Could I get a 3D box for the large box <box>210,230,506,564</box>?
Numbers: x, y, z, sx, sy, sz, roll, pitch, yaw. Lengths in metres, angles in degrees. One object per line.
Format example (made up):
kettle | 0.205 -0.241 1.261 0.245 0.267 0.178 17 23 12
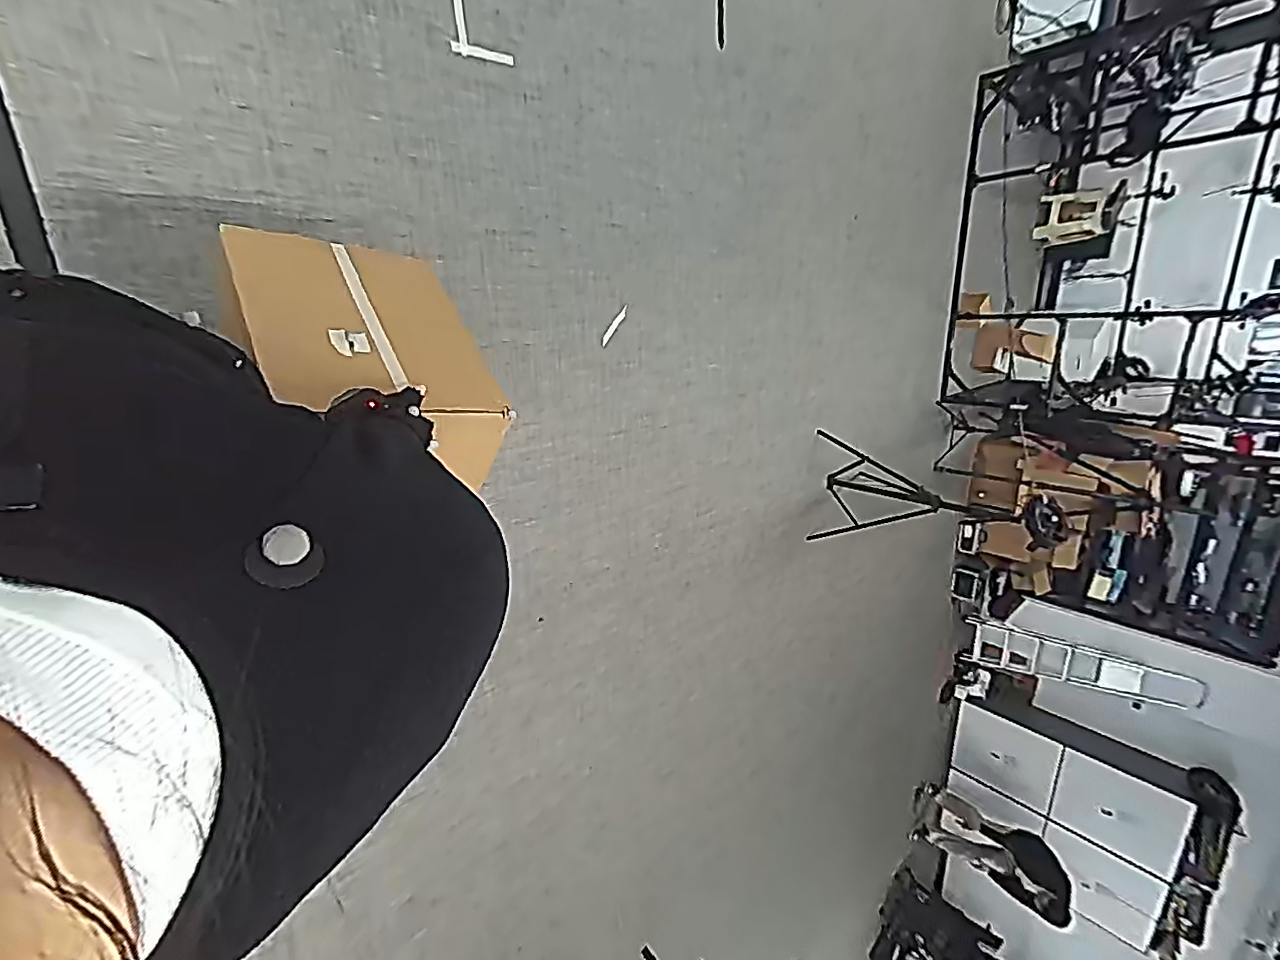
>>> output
large box | -0.482 -0.131 0.889 0.320 0.408 0.320 -7 145 -42
